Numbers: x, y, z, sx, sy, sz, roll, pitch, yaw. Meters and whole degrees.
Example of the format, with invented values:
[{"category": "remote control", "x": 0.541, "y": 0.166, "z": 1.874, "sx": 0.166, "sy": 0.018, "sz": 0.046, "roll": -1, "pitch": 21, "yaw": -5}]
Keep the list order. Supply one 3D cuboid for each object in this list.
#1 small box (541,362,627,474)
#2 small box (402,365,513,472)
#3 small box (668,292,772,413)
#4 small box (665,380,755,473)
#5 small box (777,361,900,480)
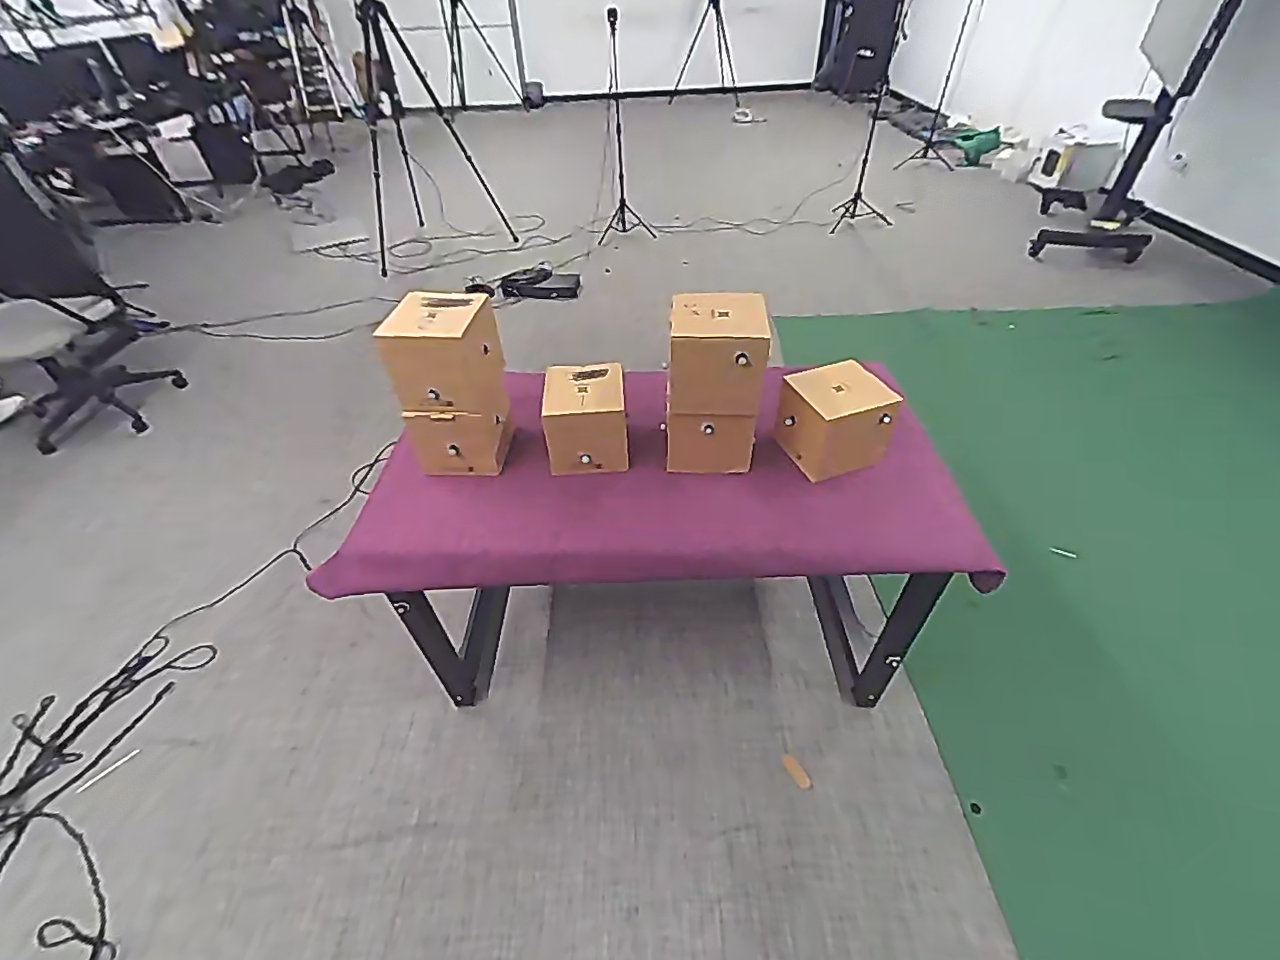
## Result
[{"category": "small box", "x": -0.114, "y": -0.134, "z": 1.165, "sx": 0.168, "sy": 0.176, "sz": 0.179, "roll": -4, "pitch": 44, "yaw": -1}, {"category": "small box", "x": -0.383, "y": -0.131, "z": 1.173, "sx": 0.168, "sy": 0.176, "sz": 0.179, "roll": 1, "pitch": 44, "yaw": 2}, {"category": "small box", "x": 0.146, "y": -0.241, "z": 1.032, "sx": 0.179, "sy": 0.176, "sz": 0.168, "roll": 2, "pitch": 44, "yaw": 5}, {"category": "small box", "x": 0.145, "y": -0.128, "z": 1.152, "sx": 0.179, "sy": 0.176, "sz": 0.168, "roll": 2, "pitch": 44, "yaw": 4}, {"category": "small box", "x": 0.403, "y": -0.123, "z": 1.136, "sx": 0.179, "sy": 0.176, "sz": 0.168, "roll": -15, "pitch": 45, "yaw": -13}]
